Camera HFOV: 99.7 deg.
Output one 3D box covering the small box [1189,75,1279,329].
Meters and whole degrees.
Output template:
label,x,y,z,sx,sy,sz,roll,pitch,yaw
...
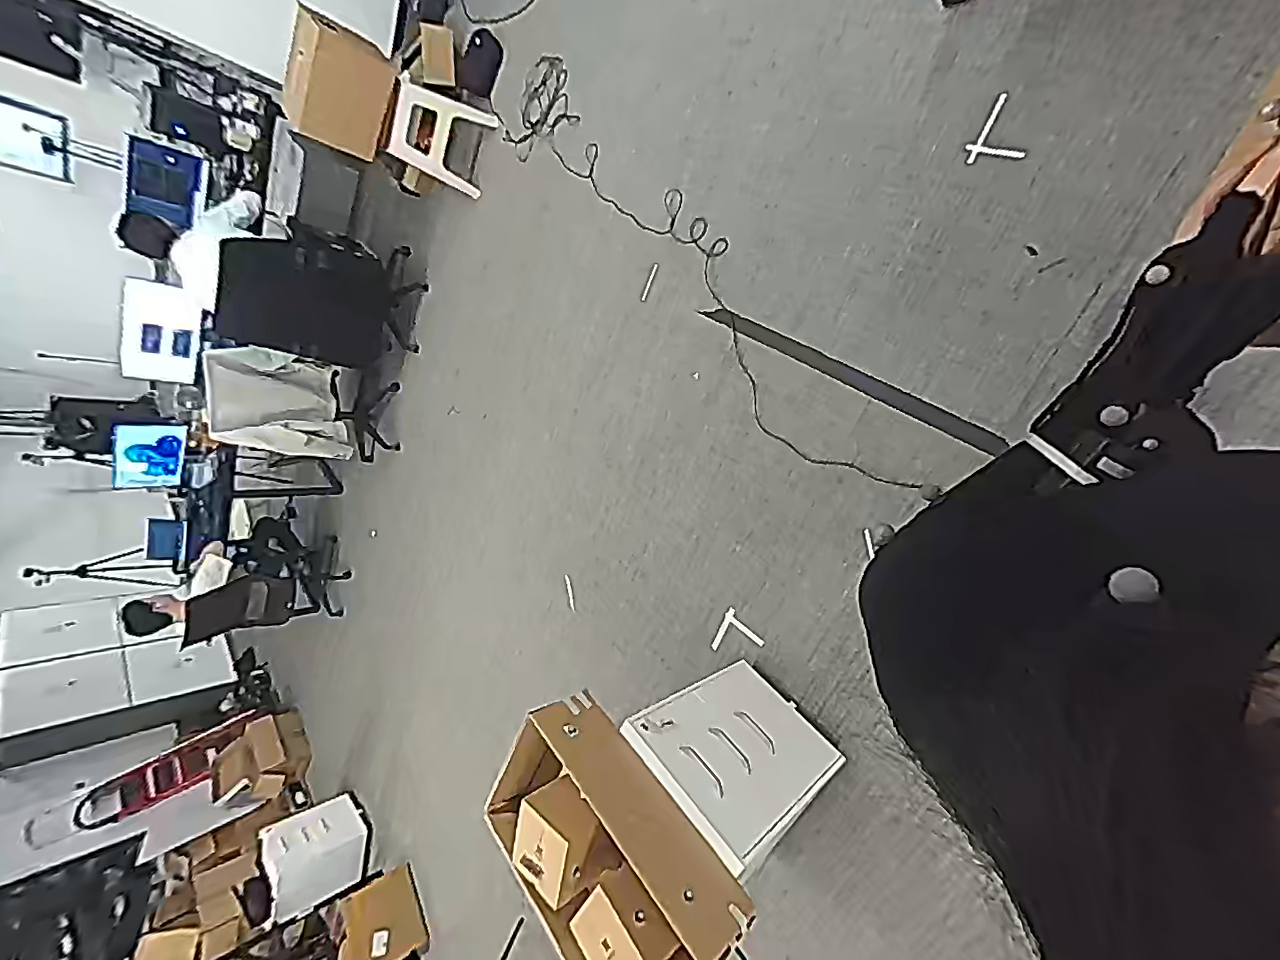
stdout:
label,x,y,z,sx,sy,sz,roll,pitch,yaw
small box,0.510,-0.204,0.342,0.179,0.176,0.168,12,84,31
